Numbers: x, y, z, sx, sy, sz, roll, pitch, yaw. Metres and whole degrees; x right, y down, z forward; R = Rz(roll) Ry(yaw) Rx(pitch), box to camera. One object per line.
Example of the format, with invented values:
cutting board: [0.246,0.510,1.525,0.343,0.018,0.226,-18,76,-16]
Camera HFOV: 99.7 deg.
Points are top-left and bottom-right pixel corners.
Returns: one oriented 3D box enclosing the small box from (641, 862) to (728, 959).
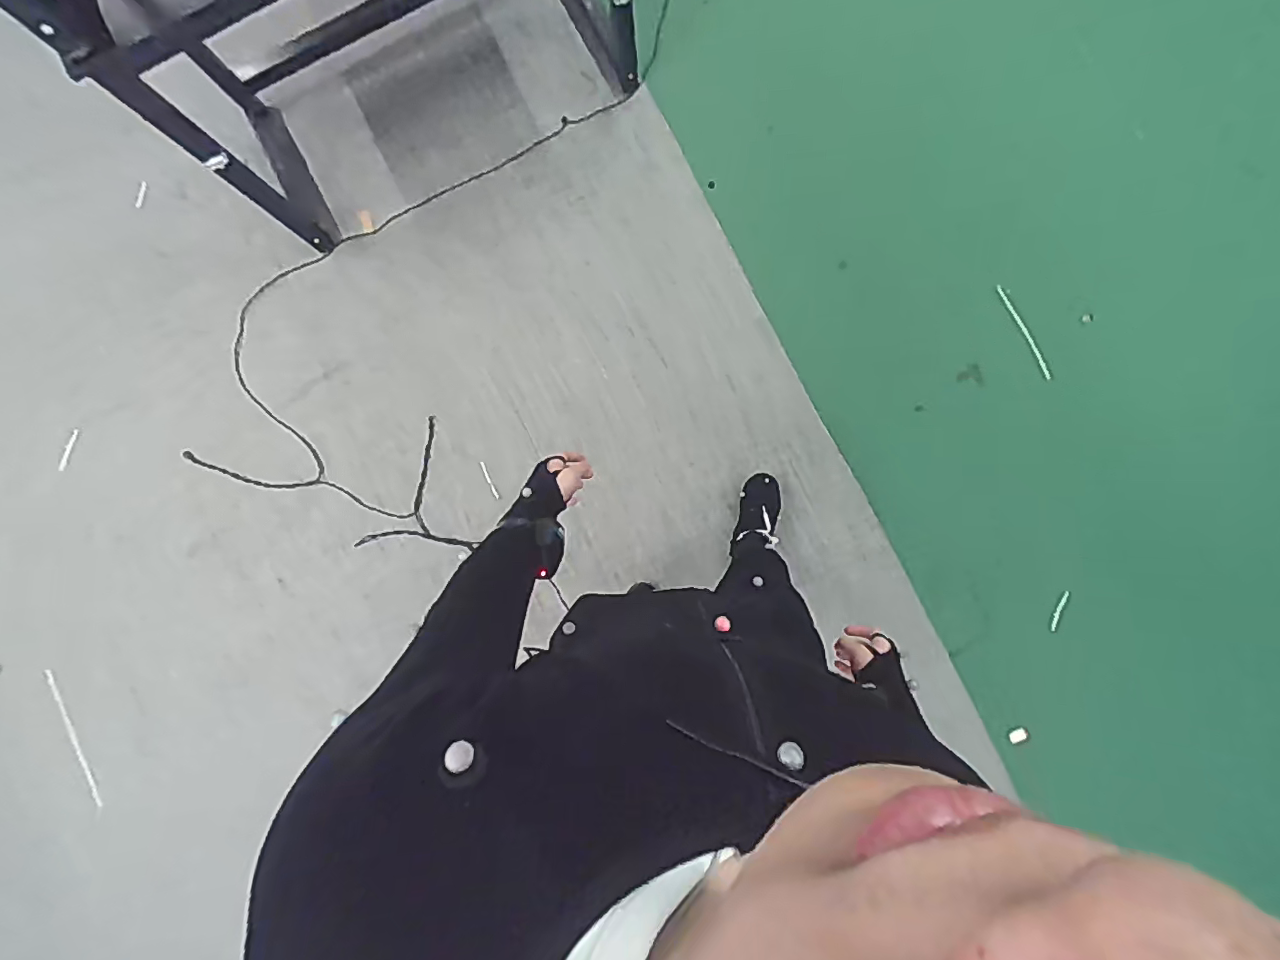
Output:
small box: [0.111,1.151,1.421,0.168,0.176,0.179,-25,84,0]

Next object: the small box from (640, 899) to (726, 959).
small box: [0.108,1.141,1.258,0.168,0.176,0.179,-23,84,-1]

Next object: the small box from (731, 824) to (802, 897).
small box: [0.349,1.043,1.415,0.168,0.176,0.179,-26,84,2]
